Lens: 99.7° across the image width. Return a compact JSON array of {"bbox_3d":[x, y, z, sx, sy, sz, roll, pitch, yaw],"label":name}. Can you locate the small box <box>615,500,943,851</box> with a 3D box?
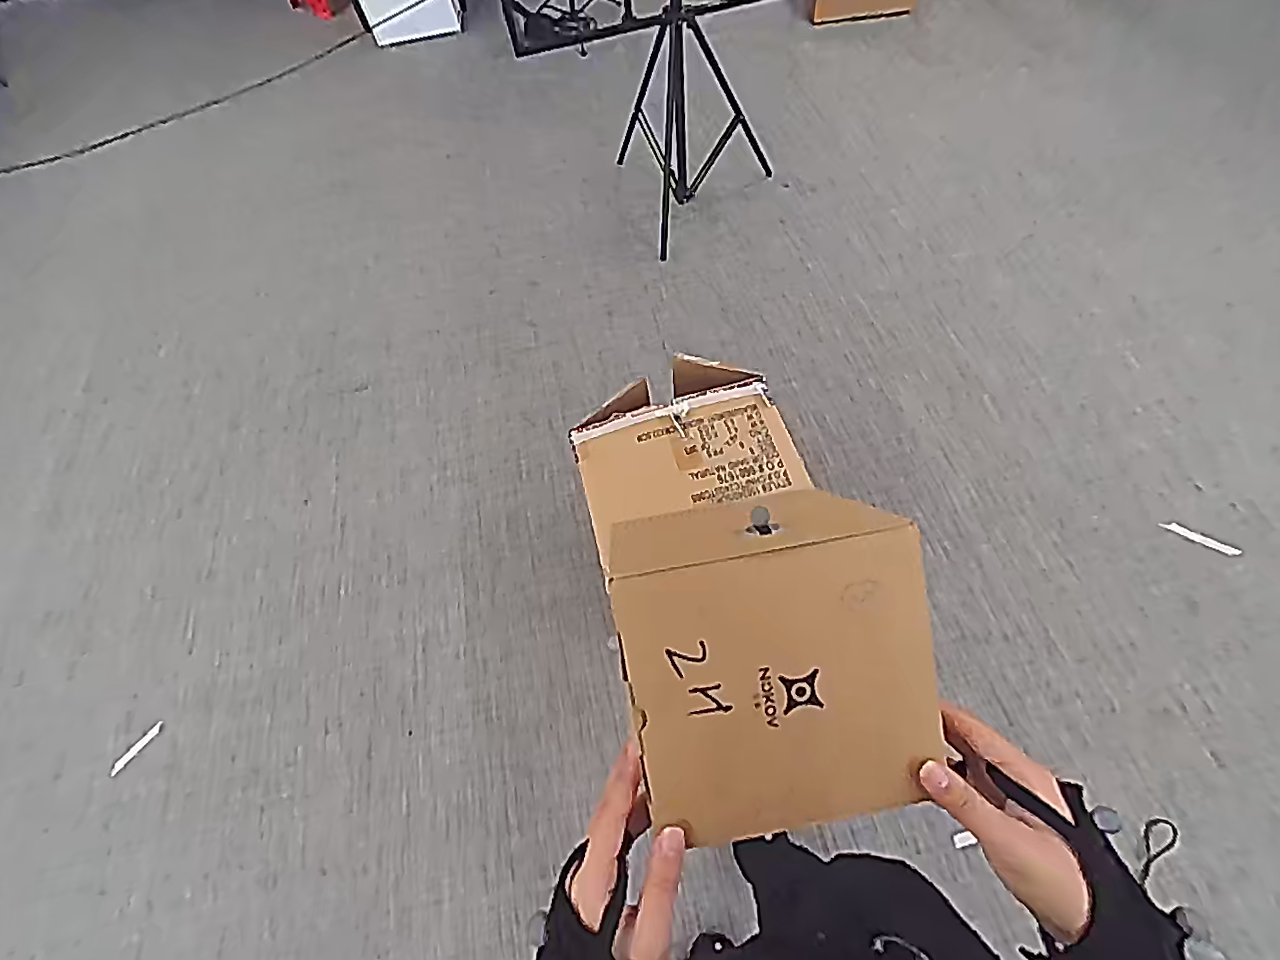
[{"bbox_3d":[0.079,0.115,0.389,0.179,0.176,0.168,-10,95,-1],"label":"small box"}]
